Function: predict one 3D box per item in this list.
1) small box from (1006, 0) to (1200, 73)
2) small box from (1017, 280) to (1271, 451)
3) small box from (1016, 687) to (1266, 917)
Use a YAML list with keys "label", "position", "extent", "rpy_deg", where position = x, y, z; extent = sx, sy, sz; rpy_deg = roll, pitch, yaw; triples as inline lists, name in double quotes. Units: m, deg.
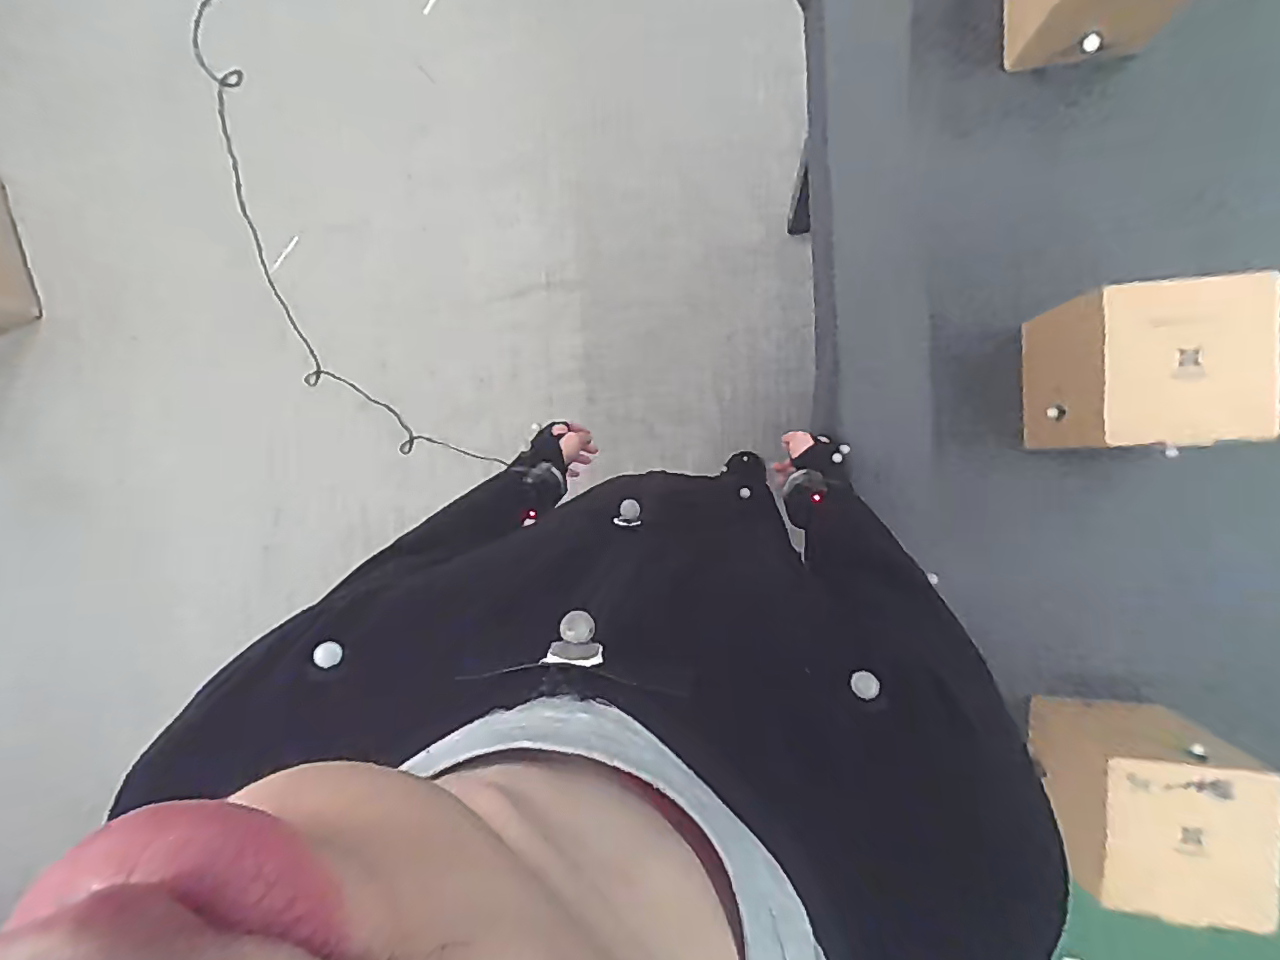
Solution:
- label: "small box"
  position: [0.559, -0.630, 0.634]
  extent: [0.168, 0.176, 0.179]
  rpy_deg: [-2, 94, 9]
- label: "small box"
  position: [0.594, -0.126, 0.662]
  extent: [0.168, 0.176, 0.179]
  rpy_deg: [-2, 92, 7]
- label: "small box"
  position: [0.610, 0.391, 0.686]
  extent: [0.168, 0.176, 0.179]
  rpy_deg: [2, 94, 9]
